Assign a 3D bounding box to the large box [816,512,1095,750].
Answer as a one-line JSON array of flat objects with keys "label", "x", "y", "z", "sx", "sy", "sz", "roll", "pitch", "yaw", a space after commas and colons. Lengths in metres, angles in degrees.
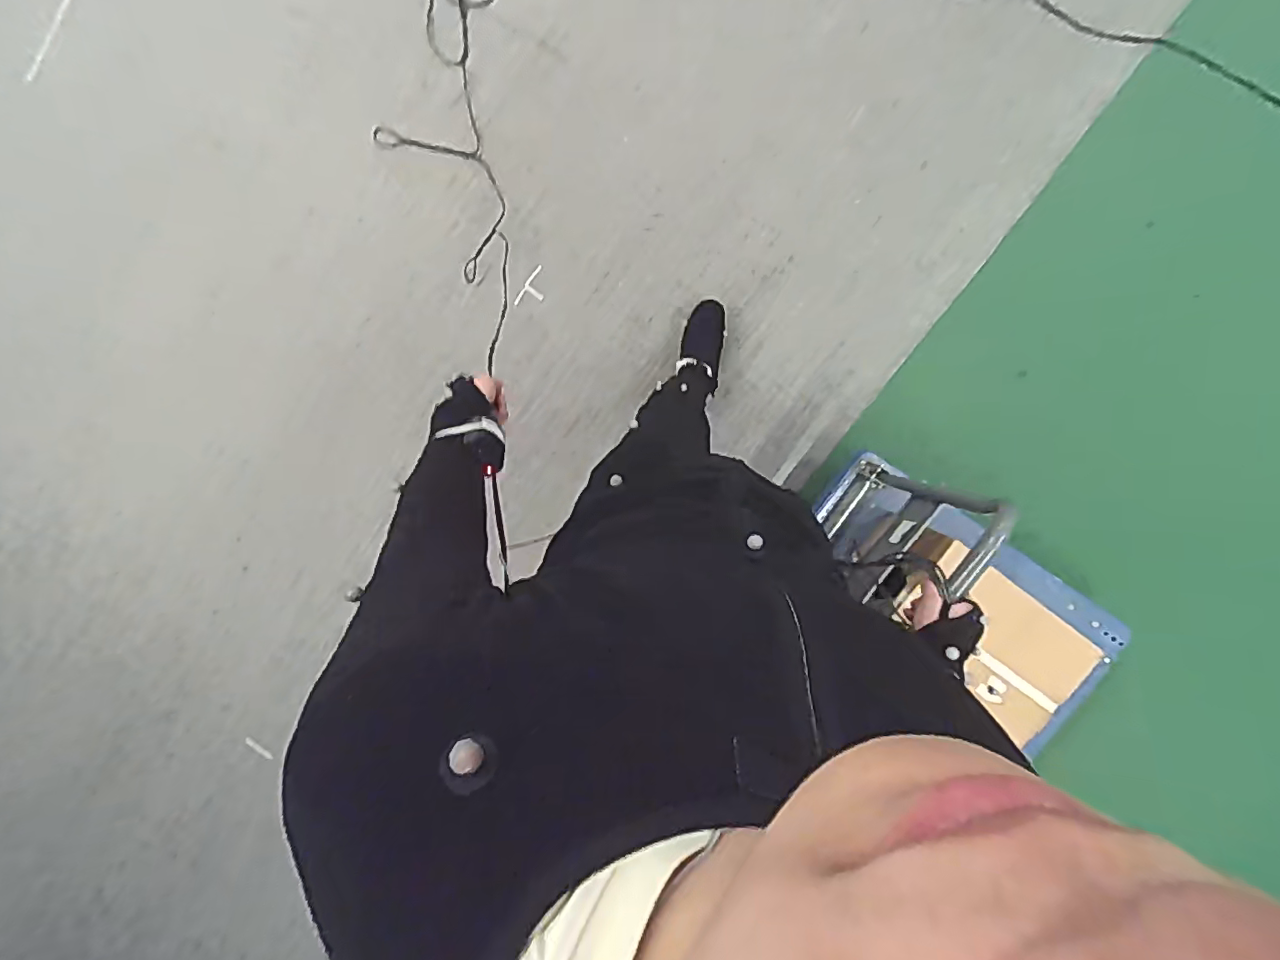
[{"label": "large box", "x": 0.704, "y": 0.329, "z": 1.279, "sx": 0.408, "sy": 0.320, "sz": 0.320, "roll": 37, "pitch": 98, "yaw": -3}]
